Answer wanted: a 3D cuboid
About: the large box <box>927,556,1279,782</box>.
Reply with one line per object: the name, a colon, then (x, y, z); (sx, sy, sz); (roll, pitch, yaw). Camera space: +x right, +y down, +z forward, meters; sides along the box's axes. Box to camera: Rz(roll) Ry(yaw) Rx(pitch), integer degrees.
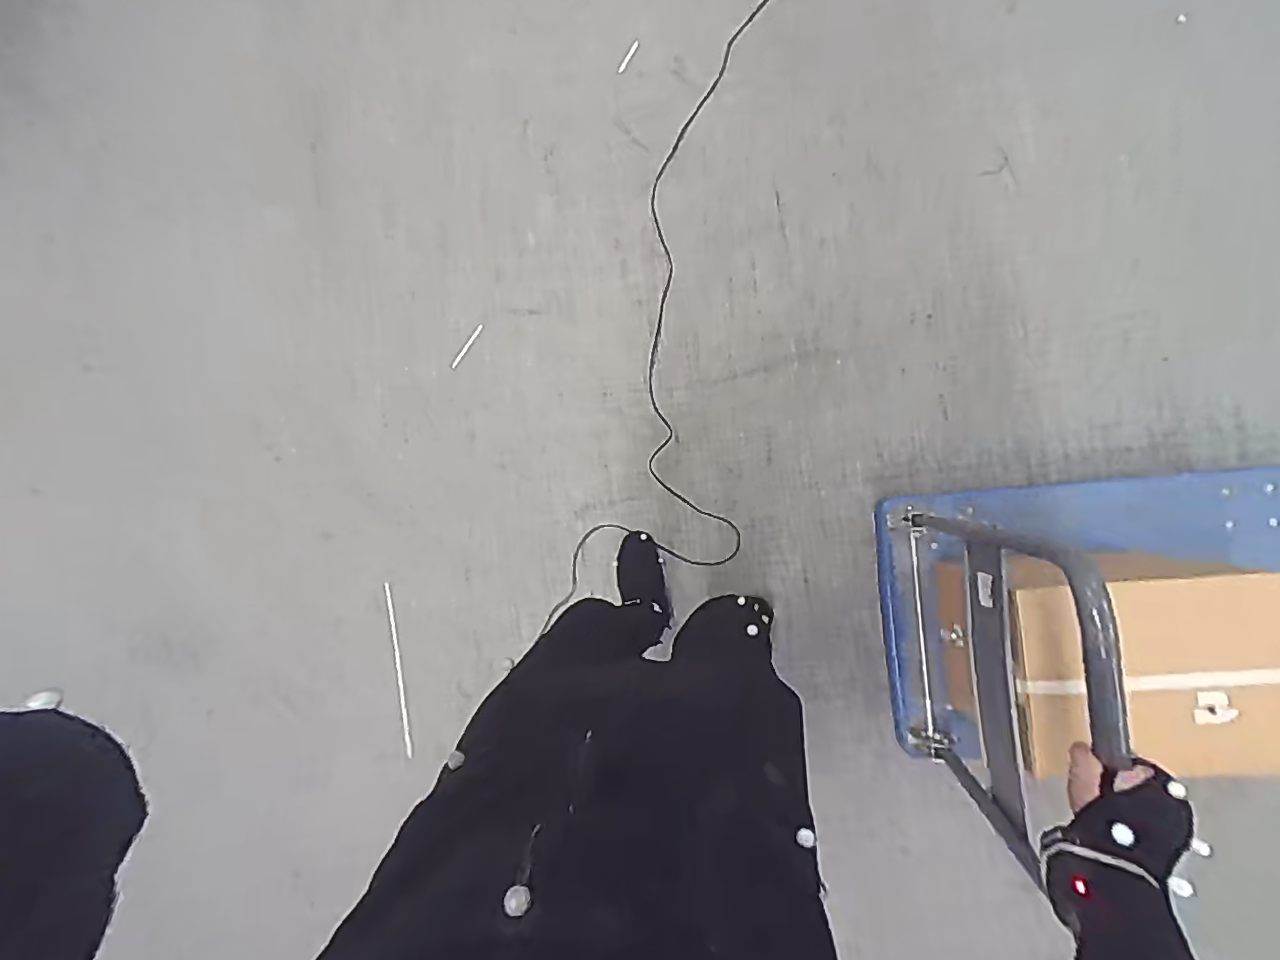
large box: (0.823, 0.325, 1.015); (0.408, 0.320, 0.320); (-6, 88, 6)
